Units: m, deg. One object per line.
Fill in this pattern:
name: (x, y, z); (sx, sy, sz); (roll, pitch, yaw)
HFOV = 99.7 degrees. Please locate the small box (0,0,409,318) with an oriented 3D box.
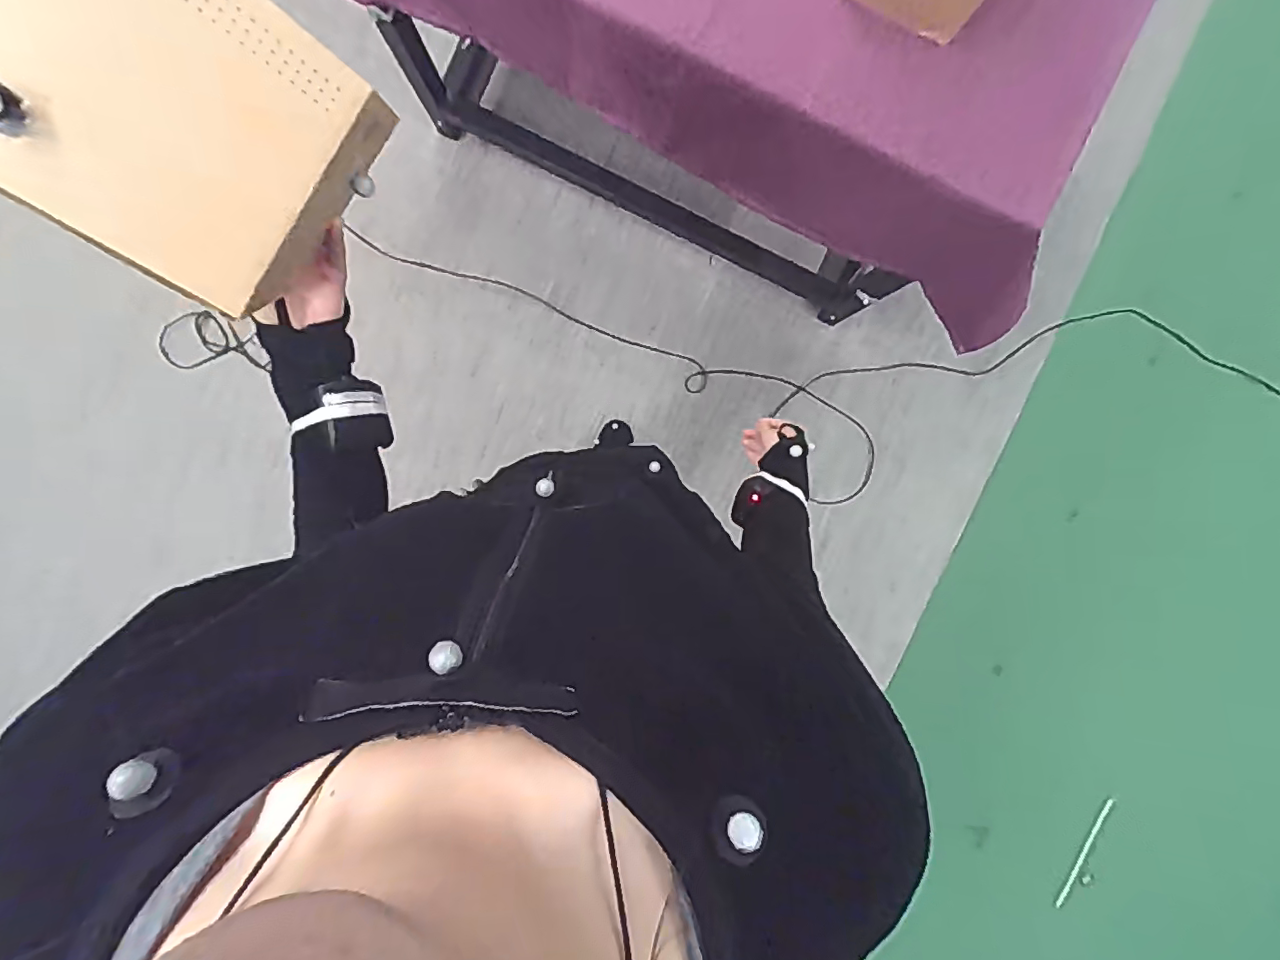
small box: (-0.282, -0.243, 0.358); (0.179, 0.168, 0.176); (33, 104, -31)

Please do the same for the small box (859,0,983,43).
small box: (0.383, -0.697, 0.661); (0.179, 0.176, 0.168); (25, 93, -4)
